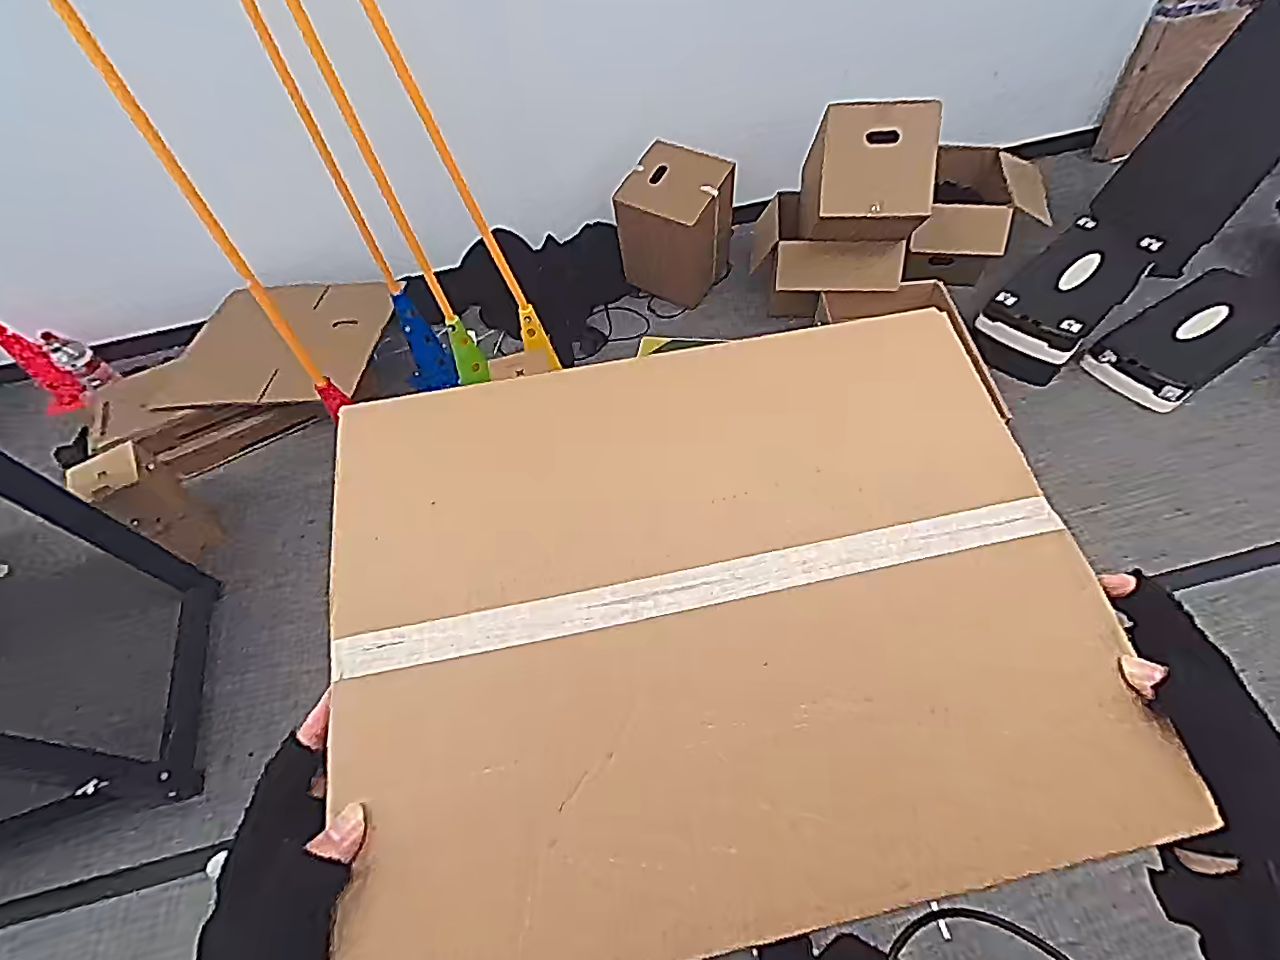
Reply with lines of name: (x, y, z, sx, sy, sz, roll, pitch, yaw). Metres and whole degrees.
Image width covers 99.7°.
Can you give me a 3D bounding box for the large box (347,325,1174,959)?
large box: (0.042, 0.124, 0.441, 0.408, 0.320, 0.320, -11, 66, -4)
